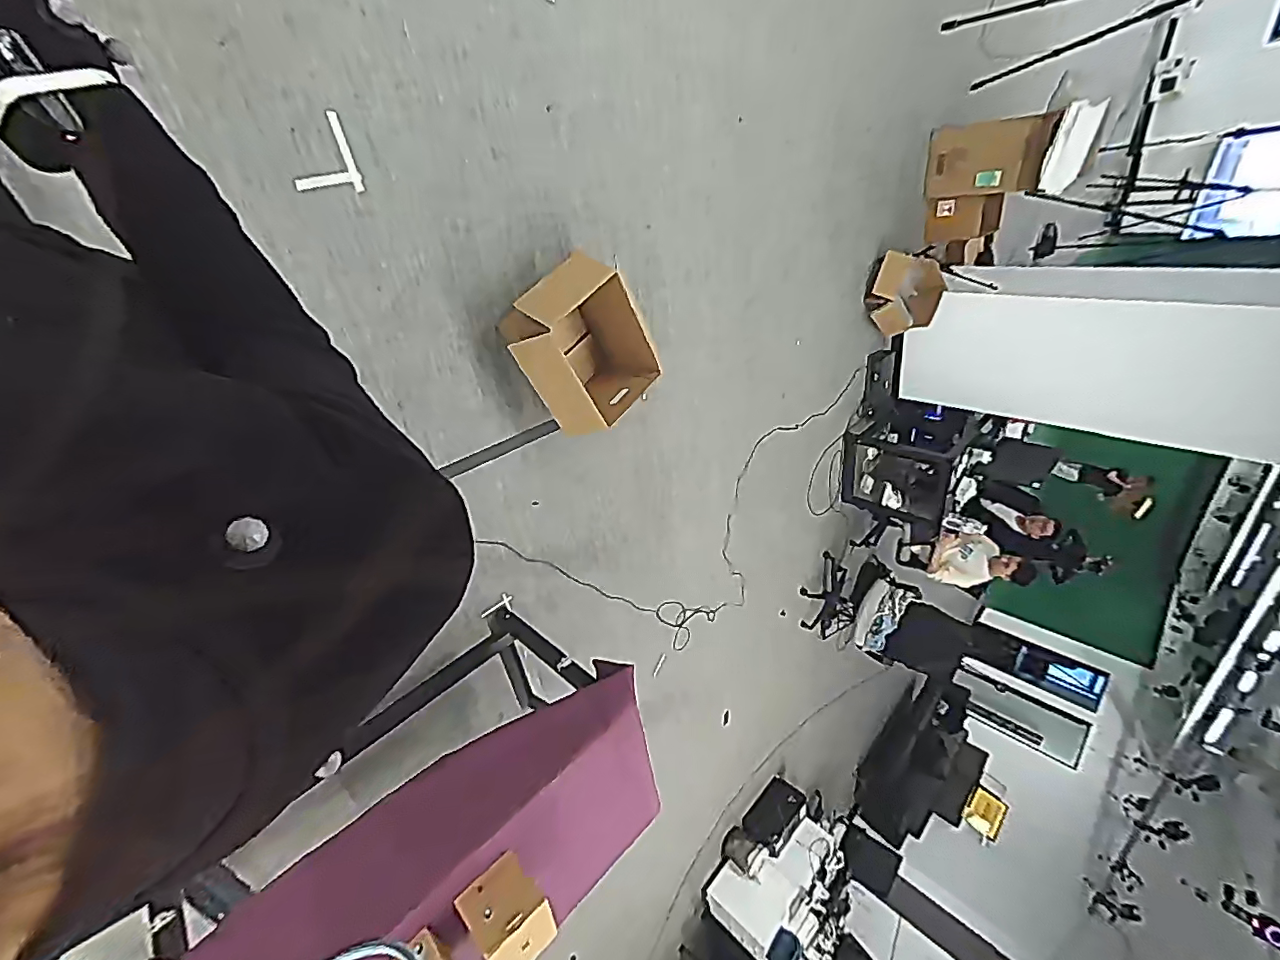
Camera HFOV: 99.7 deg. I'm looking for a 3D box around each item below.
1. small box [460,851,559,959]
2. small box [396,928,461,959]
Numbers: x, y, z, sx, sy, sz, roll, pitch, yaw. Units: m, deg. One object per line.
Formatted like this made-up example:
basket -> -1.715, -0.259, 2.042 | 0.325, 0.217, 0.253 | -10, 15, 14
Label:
small box -> -0.328, 1.084, 1.355 | 0.168, 0.176, 0.179 | -28, 125, -36
small box -> -0.482, 1.177, 1.226 | 0.168, 0.176, 0.179 | -36, 131, -32
